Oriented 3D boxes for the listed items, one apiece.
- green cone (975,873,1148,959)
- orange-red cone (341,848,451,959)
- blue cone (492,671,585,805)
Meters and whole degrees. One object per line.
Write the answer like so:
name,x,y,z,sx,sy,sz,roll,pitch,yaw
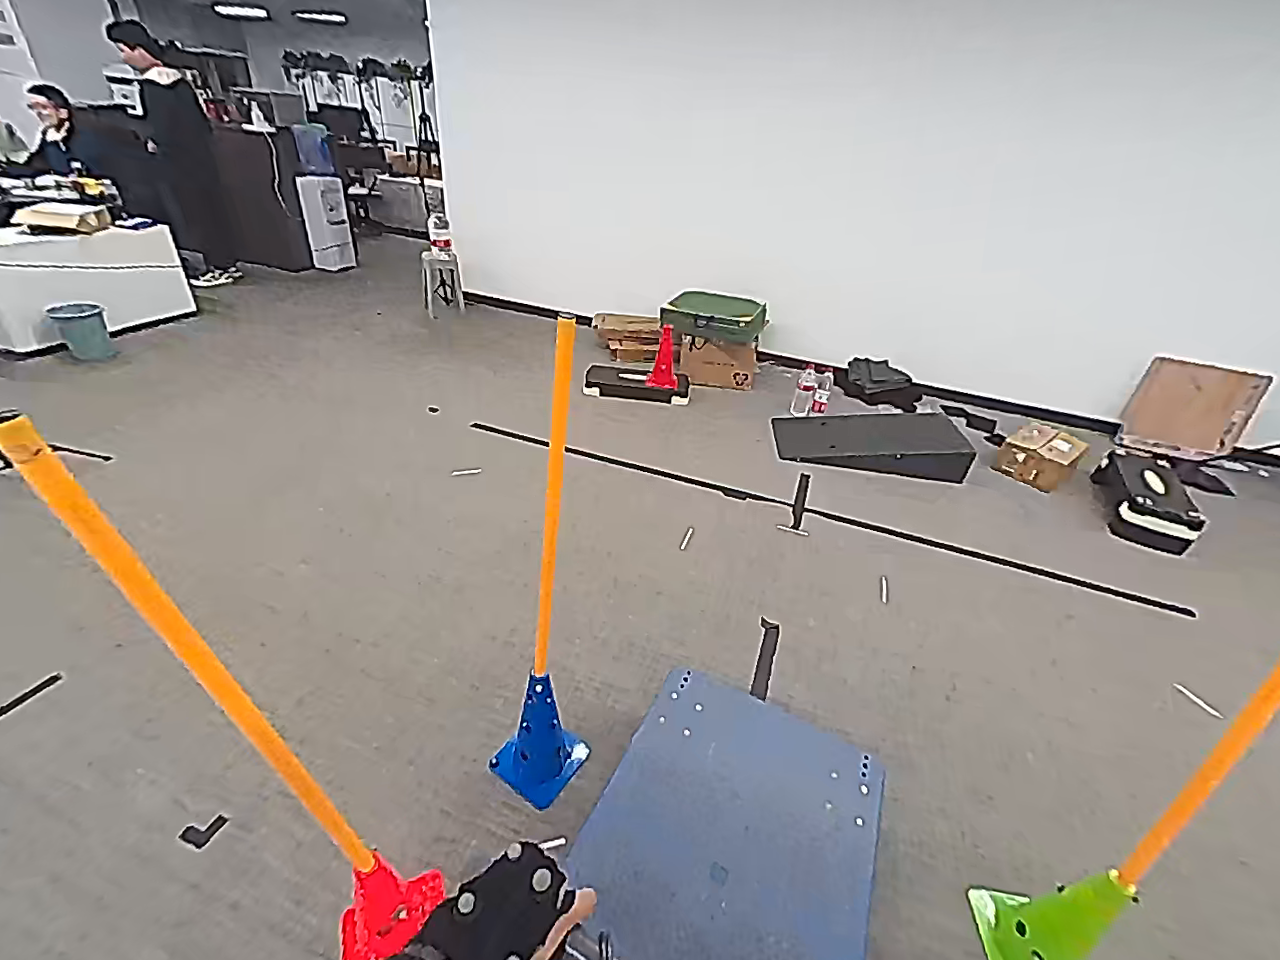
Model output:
green cone,0.871,0.871,1.075,0.200,0.368,0.202,8,34,3
orange-red cone,-0.471,0.773,0.991,0.199,0.360,0.198,-8,36,-24
blue cone,-0.249,0.595,1.331,0.193,0.380,0.192,25,38,26
